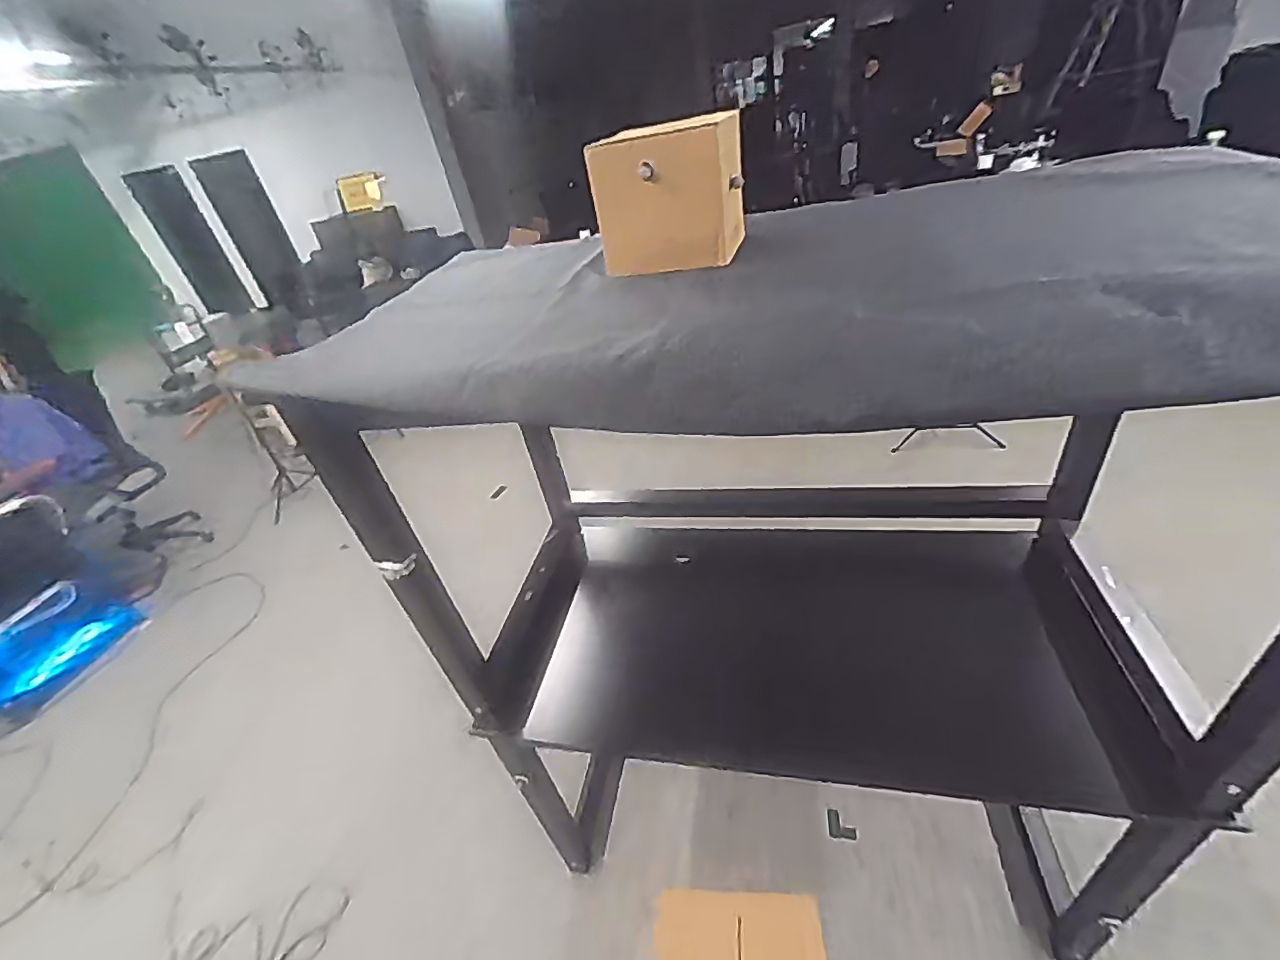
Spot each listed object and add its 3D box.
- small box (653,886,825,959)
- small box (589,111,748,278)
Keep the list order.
[{"bbox_3d":[0.095,0.541,0.543,0.168,0.176,0.179,1,39,3],"label":"small box"},{"bbox_3d":[0.053,-0.397,0.761,0.179,0.176,0.168,2,37,20],"label":"small box"}]
